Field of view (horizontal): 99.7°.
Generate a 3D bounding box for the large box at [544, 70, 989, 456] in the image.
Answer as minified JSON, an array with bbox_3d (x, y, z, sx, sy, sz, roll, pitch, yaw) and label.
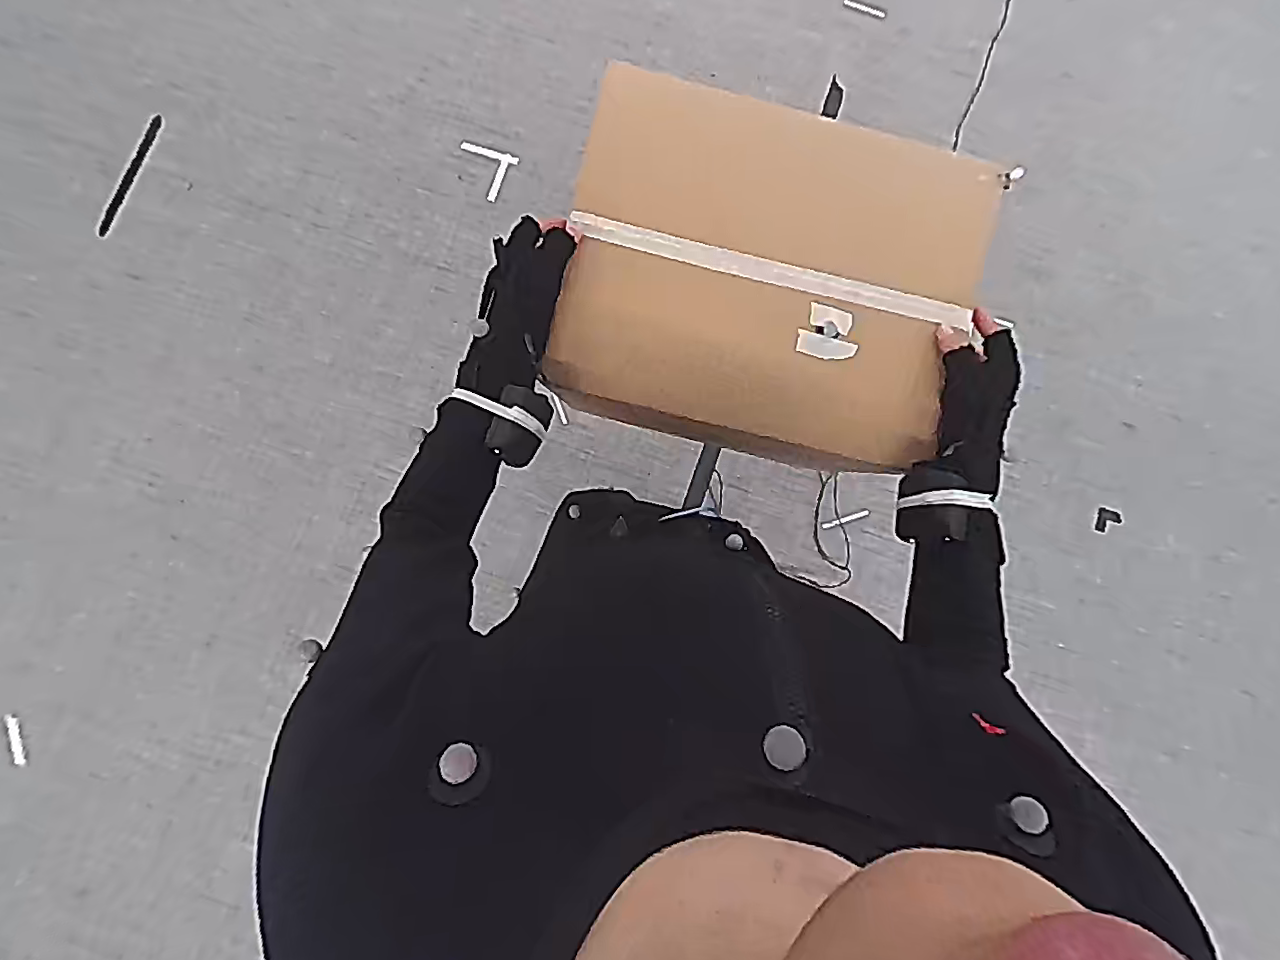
[{"bbox_3d":[0.122,-0.221,0.692,0.408,0.320,0.320,14,93,-2],"label":"large box"}]
